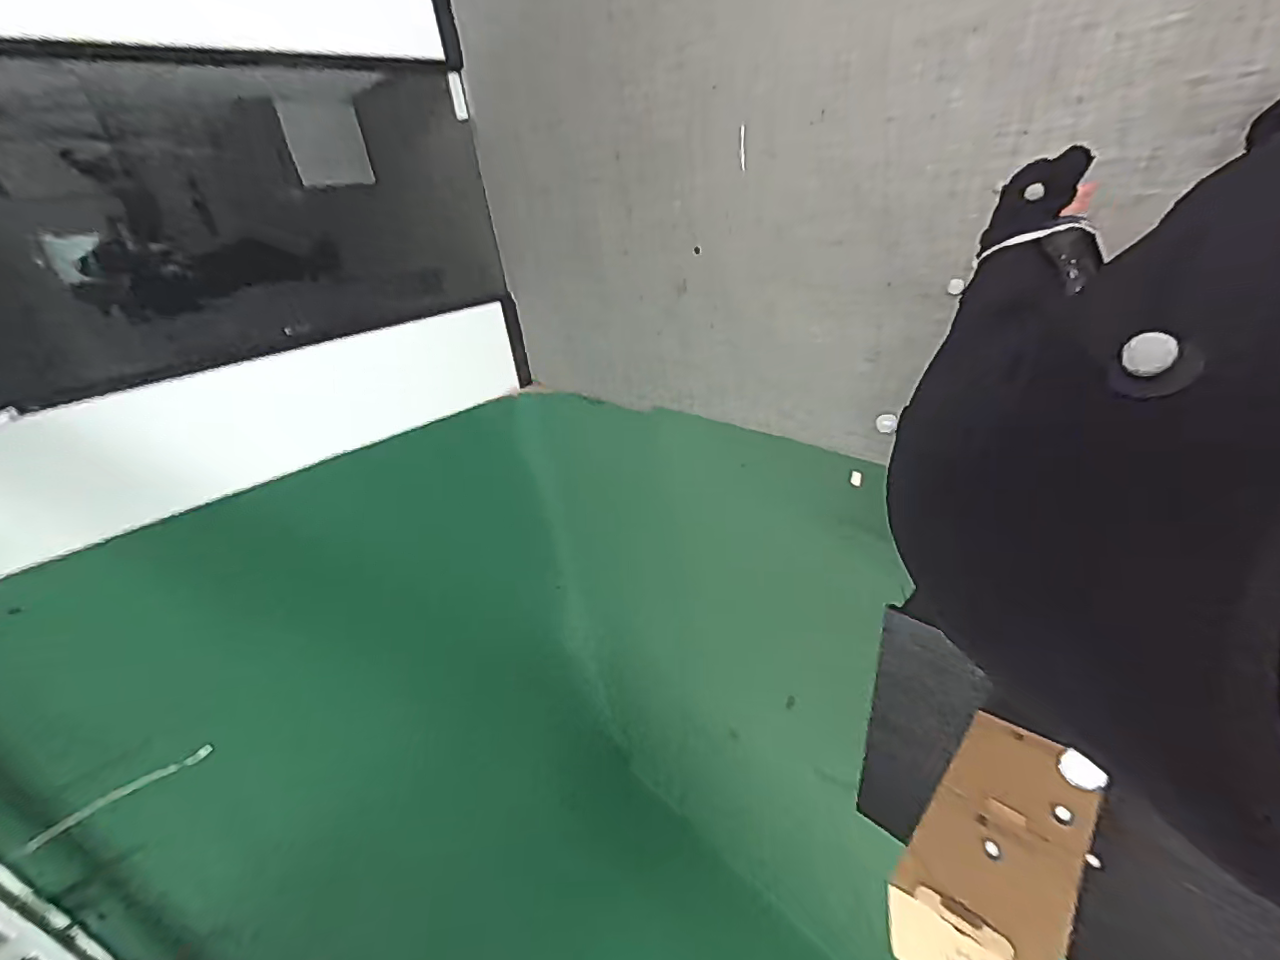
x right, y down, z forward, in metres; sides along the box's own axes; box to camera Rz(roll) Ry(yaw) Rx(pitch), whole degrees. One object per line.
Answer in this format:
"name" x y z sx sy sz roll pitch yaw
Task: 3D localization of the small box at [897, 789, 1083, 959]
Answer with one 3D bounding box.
"small box" 0.458 0.564 0.713 0.168 0.176 0.179 12 123 46
